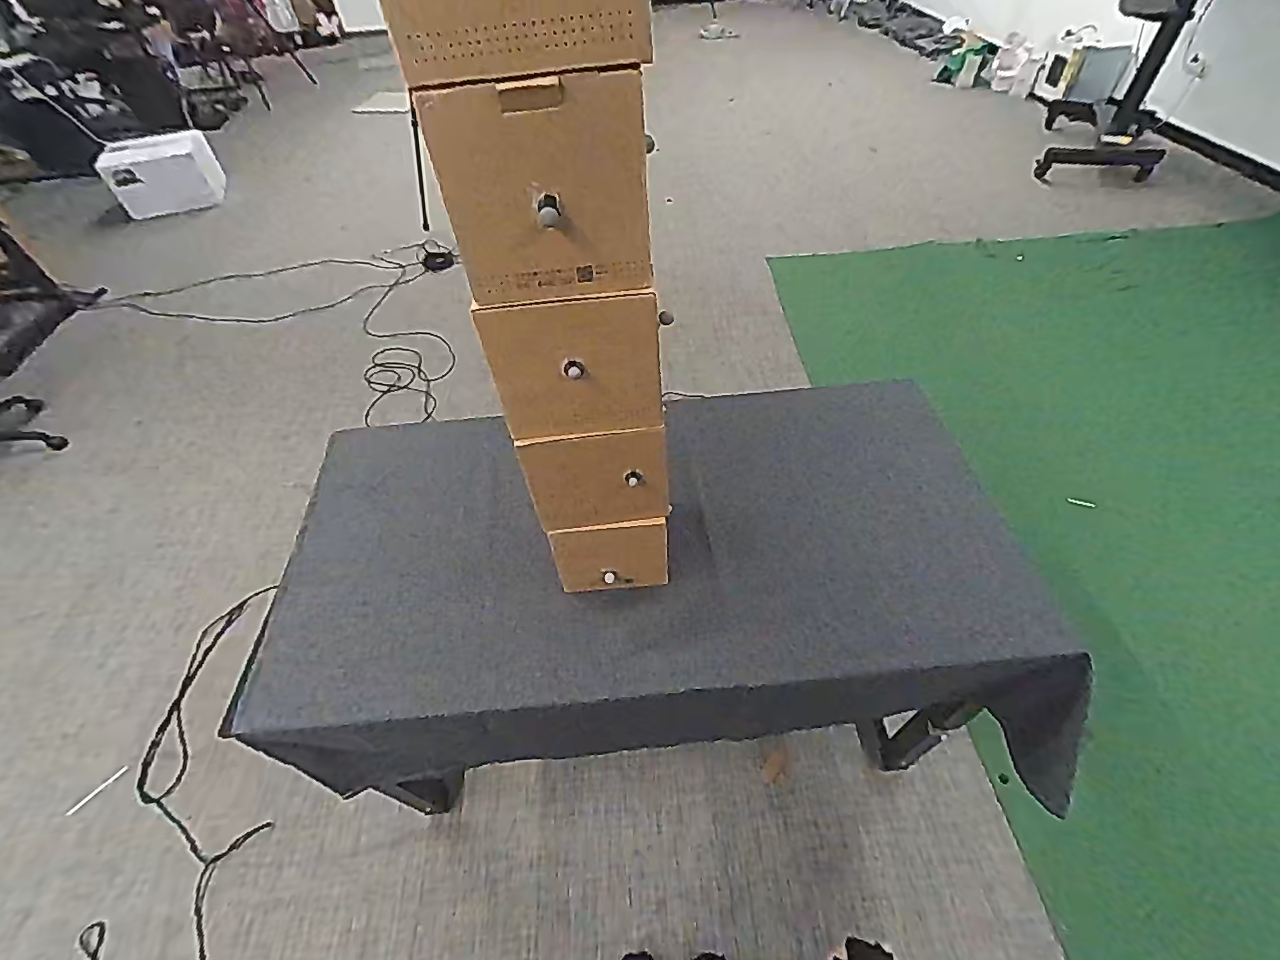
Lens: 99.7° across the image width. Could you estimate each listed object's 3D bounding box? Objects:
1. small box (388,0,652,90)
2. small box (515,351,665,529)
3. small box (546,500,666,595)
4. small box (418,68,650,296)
[{"bbox_3d":[-0.088,-0.395,0.382,0.179,0.176,0.168,-5,47,0],"label":"small box"},{"bbox_3d":[-0.061,-0.051,0.732,0.179,0.176,0.168,-7,47,-1],"label":"small box"},{"bbox_3d":[-0.047,0.059,0.851,0.168,0.176,0.179,-5,49,0],"label":"small box"},{"bbox_3d":[-0.082,-0.285,0.505,0.168,0.176,0.179,-6,47,-1],"label":"small box"}]
